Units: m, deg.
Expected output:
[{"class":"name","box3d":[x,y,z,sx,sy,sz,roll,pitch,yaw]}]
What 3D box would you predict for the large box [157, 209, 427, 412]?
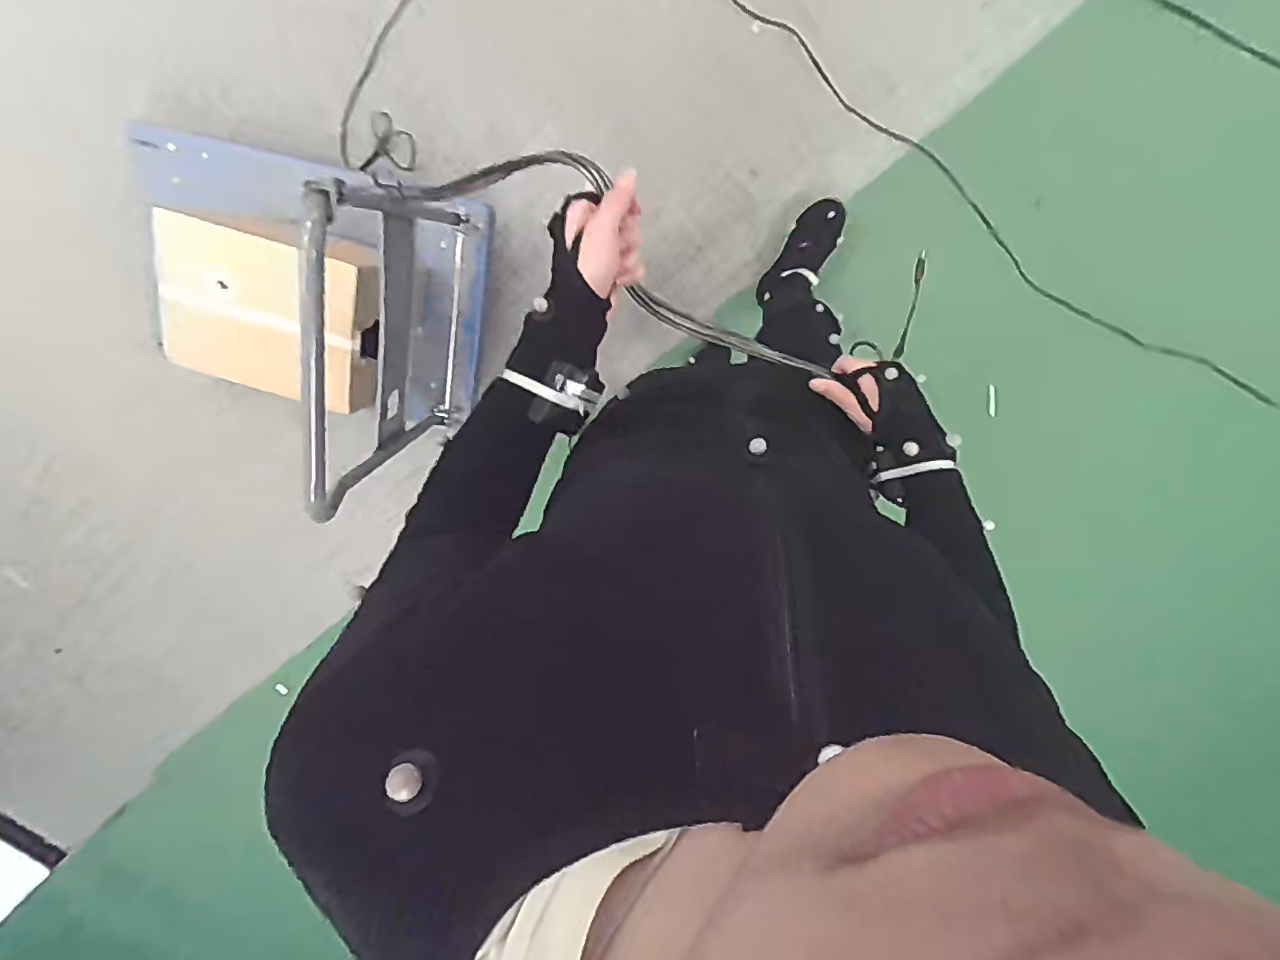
[{"class":"large box","box3d":[-0.749,-0.387,1.222,0.408,0.320,0.320,17,113,-1]}]
